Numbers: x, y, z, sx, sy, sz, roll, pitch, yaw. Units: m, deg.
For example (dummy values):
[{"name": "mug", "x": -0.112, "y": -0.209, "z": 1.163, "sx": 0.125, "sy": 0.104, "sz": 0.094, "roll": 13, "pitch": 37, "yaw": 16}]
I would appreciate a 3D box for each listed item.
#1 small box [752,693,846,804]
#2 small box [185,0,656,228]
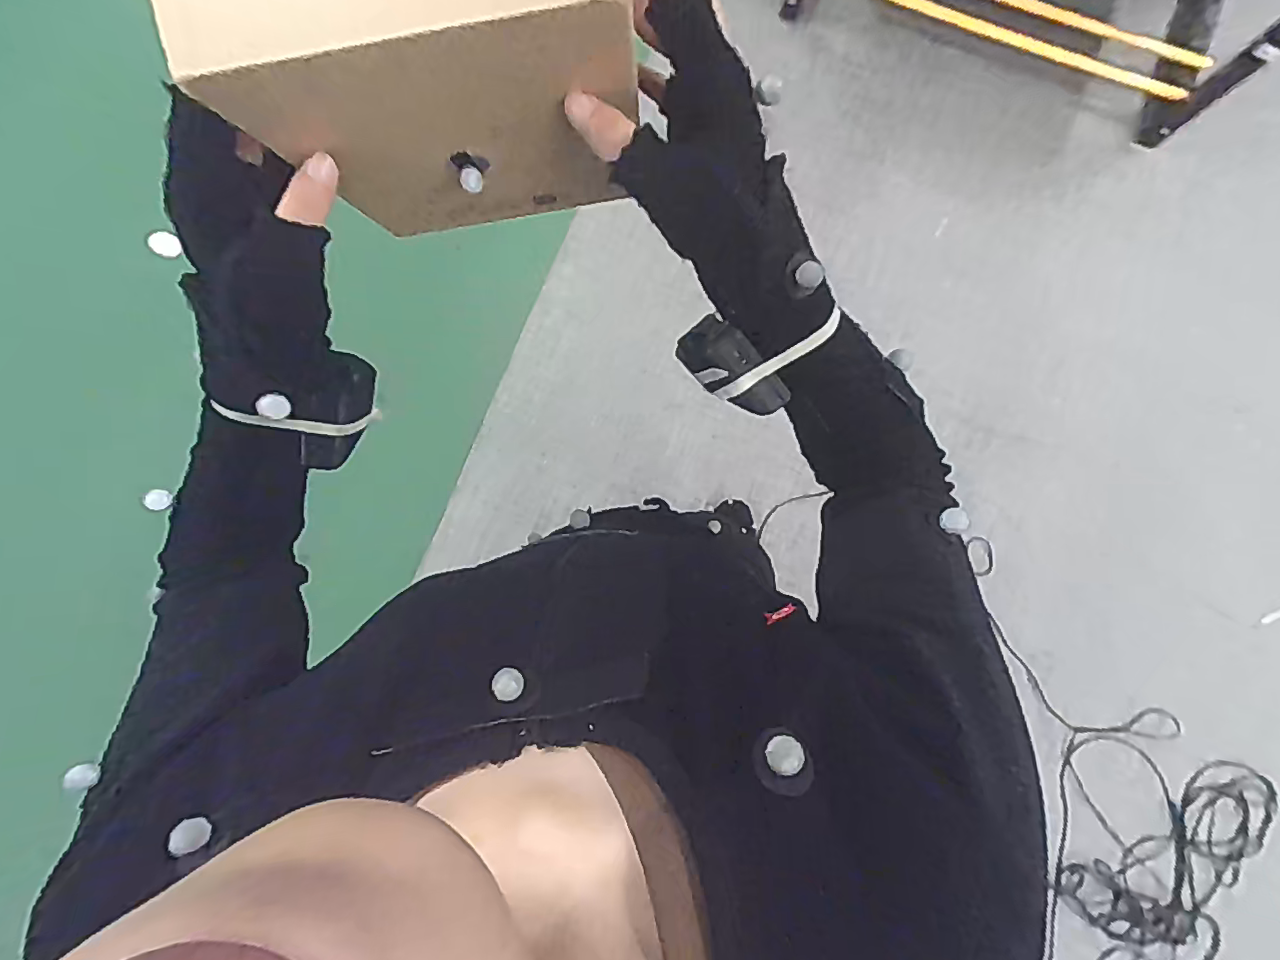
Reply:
[{"name": "small box", "x": 0.391, "y": 0.666, "z": 1.362, "sx": 0.168, "sy": 0.176, "sz": 0.179, "roll": 16, "pitch": 84, "yaw": 1}, {"name": "small box", "x": -0.082, "y": -0.239, "z": 0.259, "sx": 0.168, "sy": 0.176, "sz": 0.179, "roll": -8, "pitch": 96, "yaw": 2}]
